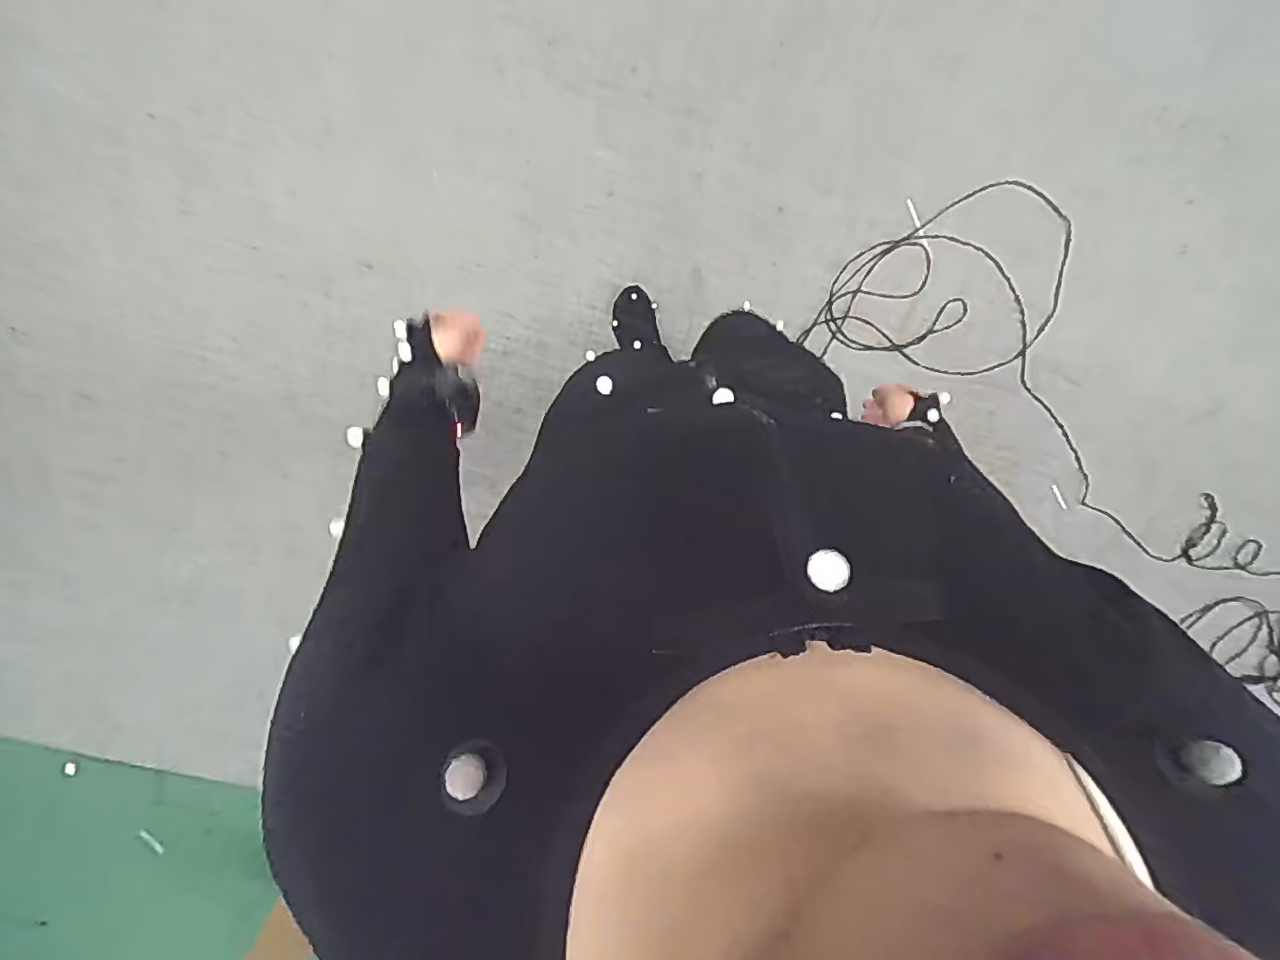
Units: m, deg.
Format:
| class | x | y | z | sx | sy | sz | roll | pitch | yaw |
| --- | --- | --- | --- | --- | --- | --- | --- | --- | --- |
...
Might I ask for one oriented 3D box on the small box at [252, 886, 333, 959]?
| class | x | y | z | sx | sy | sz | roll | pitch | yaw |
| --- | --- | --- | --- | --- | --- | --- | --- | --- | --- |
| small box | -1.191 | 1.548 | 1.859 | 0.168 | 0.176 | 0.179 | 22 | 105 | -8 |
